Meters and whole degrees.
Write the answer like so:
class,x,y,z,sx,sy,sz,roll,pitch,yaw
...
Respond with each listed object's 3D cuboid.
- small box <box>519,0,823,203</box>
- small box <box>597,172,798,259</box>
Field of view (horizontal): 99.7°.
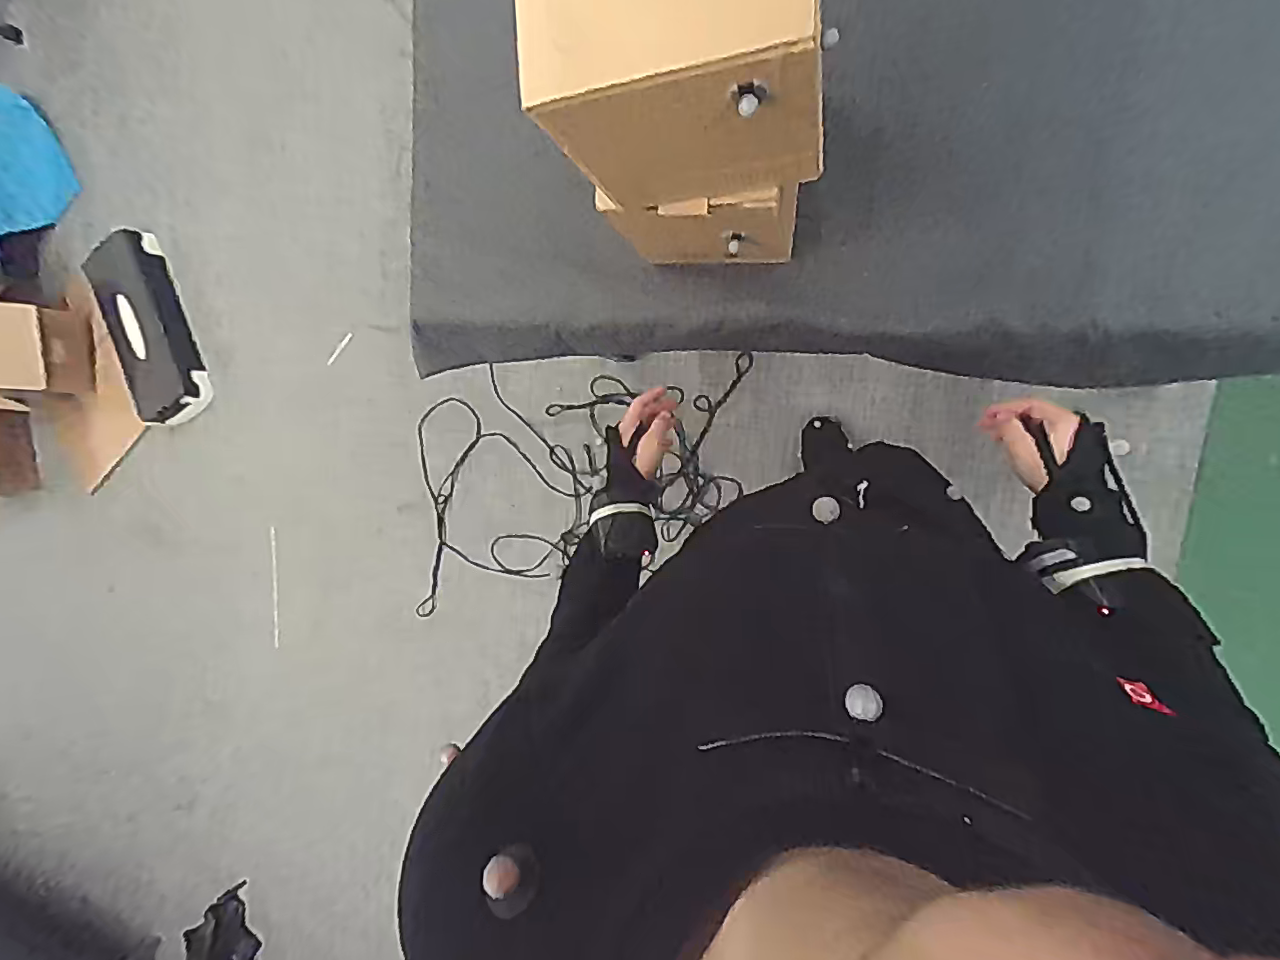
class,x,y,z,sx,sy,sz,roll,pitch,yaw
small box,0.033,-0.316,0.374,0.179,0.176,0.168,-1,95,18
small box,0.069,-0.328,0.533,0.168,0.176,0.179,7,96,17
